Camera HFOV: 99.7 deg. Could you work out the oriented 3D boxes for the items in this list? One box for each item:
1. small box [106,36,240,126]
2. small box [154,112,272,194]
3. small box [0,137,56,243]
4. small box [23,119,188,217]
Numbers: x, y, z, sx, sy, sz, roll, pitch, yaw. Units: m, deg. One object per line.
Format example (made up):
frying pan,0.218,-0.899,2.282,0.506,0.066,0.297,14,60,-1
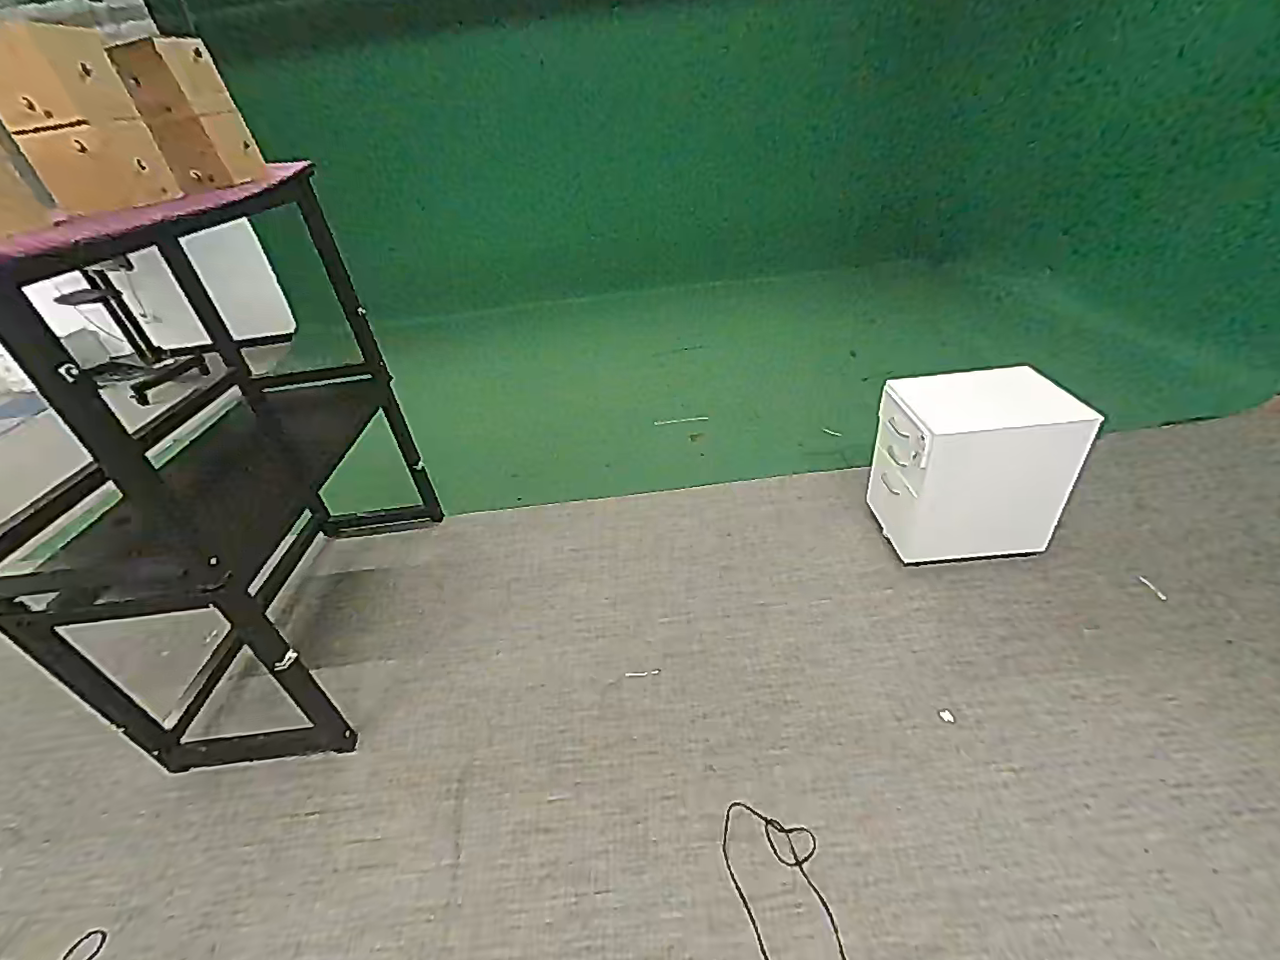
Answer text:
small box,-1.228,-1.055,1.441,0.168,0.176,0.179,-5,36,10
small box,-1.196,-0.928,1.538,0.168,0.176,0.179,-6,37,7
small box,-1.176,-0.489,0.912,0.168,0.176,0.179,-9,35,-3
small box,-1.219,-0.724,1.254,0.179,0.176,0.168,-7,34,2
